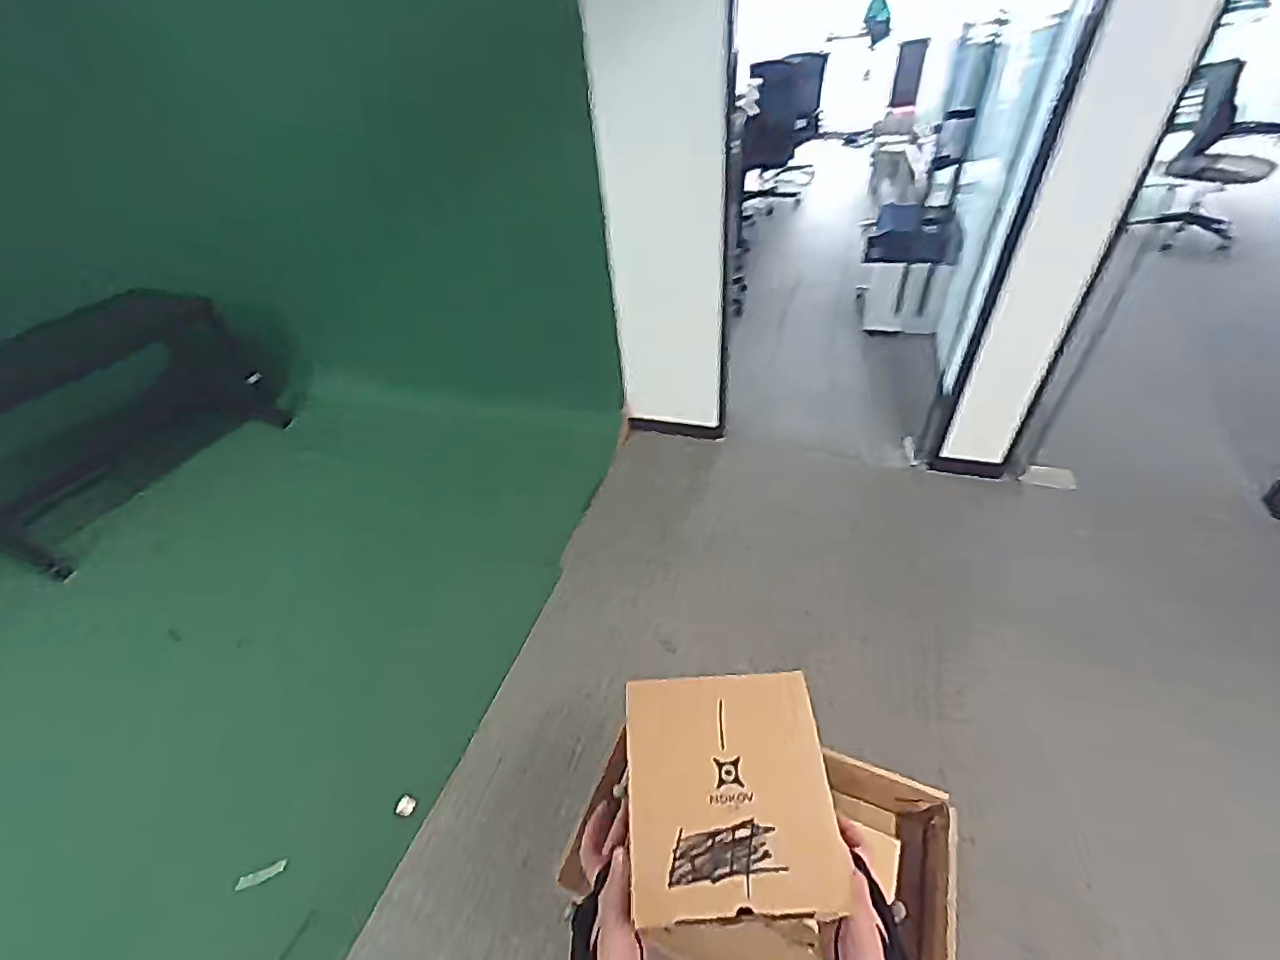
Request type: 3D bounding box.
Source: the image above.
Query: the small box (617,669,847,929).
[{"bbox_3d":[0.066,0.288,0.496,0.168,0.176,0.179,-2,53,-1],"label":"small box"}]

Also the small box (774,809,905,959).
[{"bbox_3d":[0.329,0.686,0.909,0.168,0.176,0.179,15,47,22],"label":"small box"}]
